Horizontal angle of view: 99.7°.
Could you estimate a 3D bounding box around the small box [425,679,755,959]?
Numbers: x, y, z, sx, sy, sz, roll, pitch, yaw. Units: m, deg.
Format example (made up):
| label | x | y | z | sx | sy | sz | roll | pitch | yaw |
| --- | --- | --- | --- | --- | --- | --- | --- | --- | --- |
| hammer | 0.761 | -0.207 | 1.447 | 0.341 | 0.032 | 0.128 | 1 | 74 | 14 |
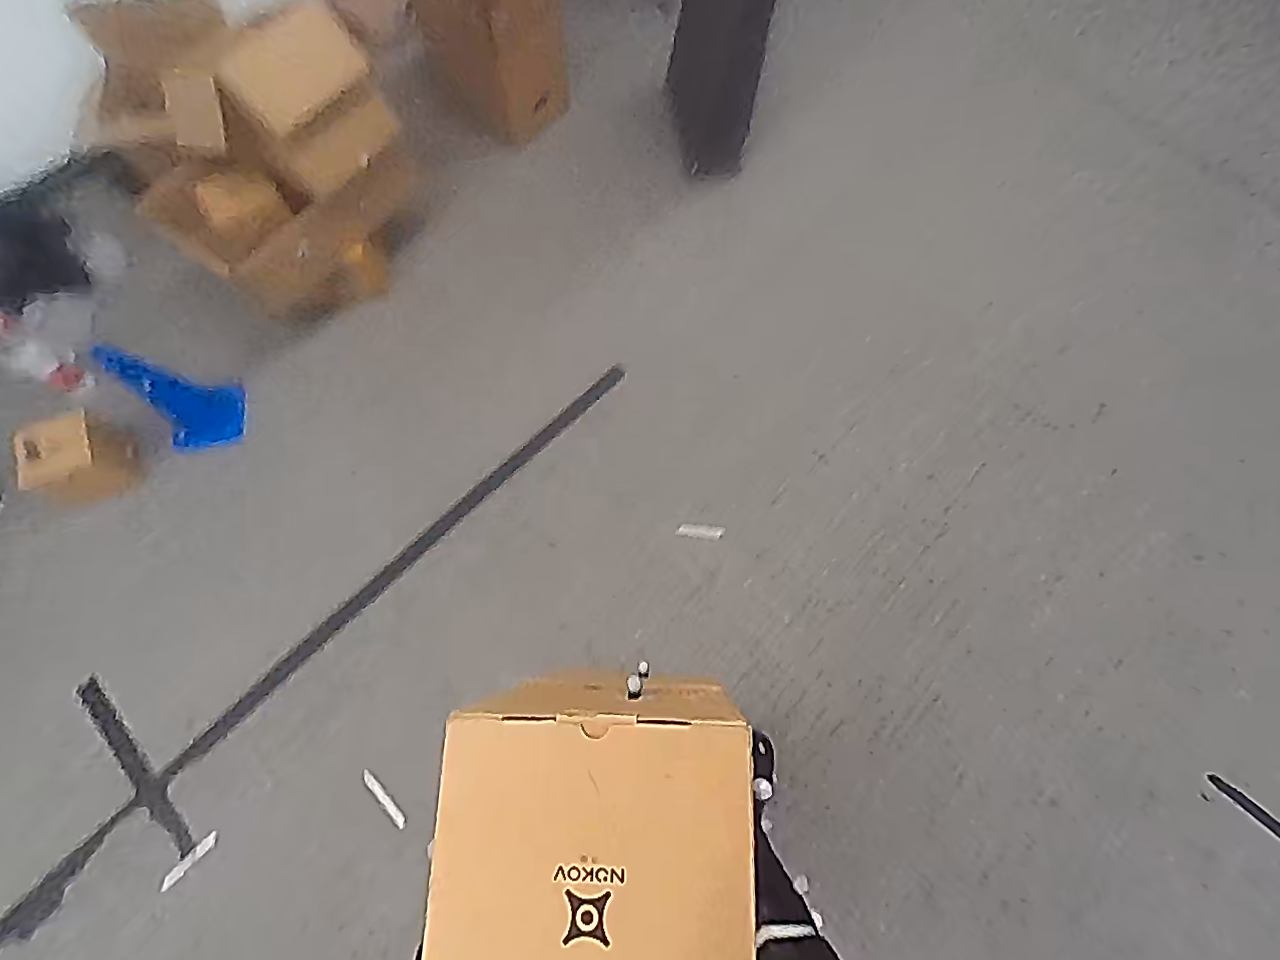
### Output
| label | x | y | z | sx | sy | sz | roll | pitch | yaw |
| --- | --- | --- | --- | --- | --- | --- | --- | --- | --- |
| small box | -0.019 | 0.230 | 0.348 | 0.168 | 0.176 | 0.179 | 0 | 74 | 3 |
